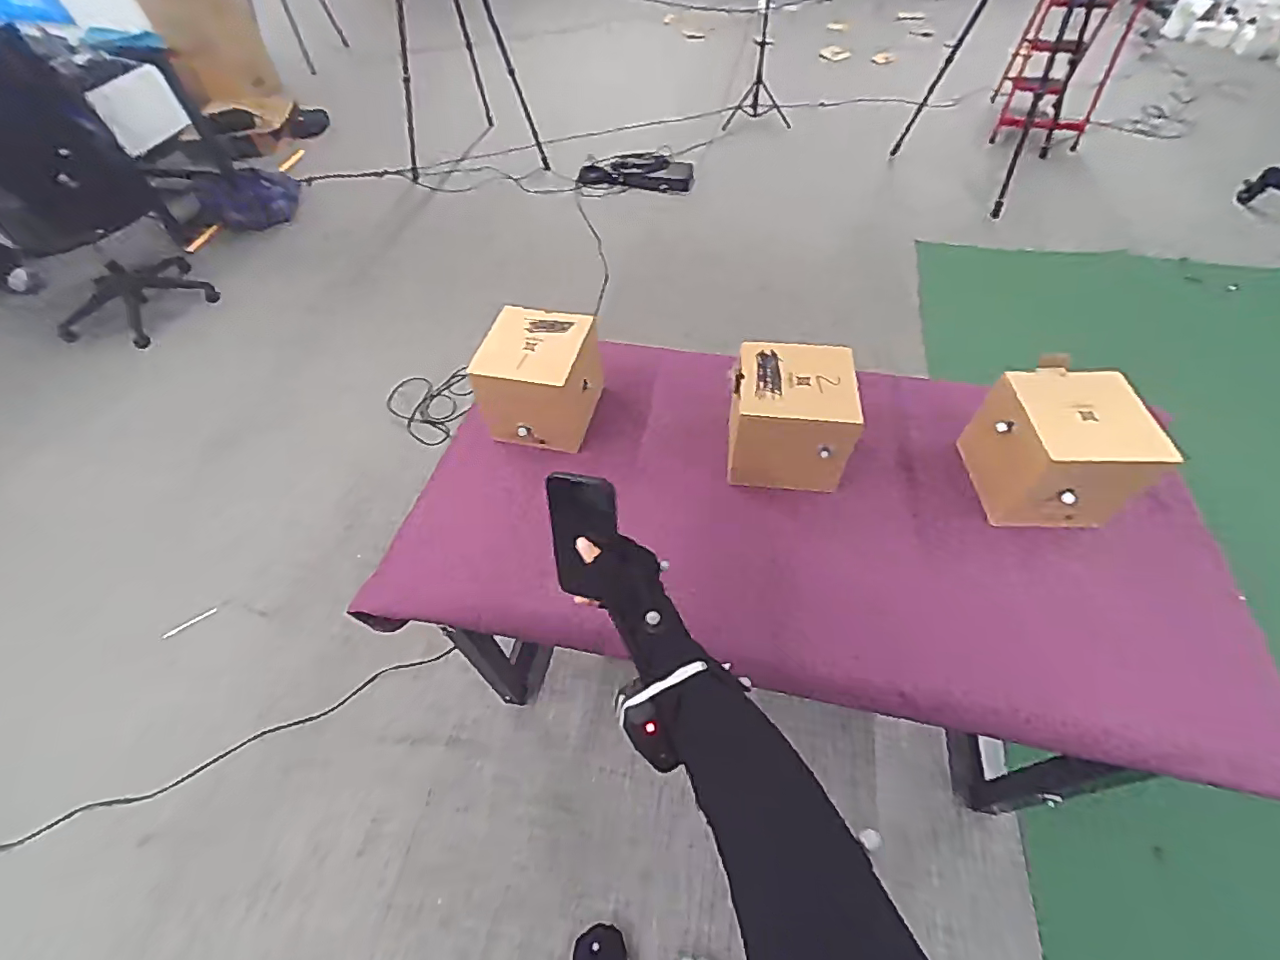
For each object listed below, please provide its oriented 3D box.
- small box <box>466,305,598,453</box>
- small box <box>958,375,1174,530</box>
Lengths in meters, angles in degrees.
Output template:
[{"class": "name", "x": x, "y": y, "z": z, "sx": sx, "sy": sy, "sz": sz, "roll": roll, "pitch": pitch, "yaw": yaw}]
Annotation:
[{"class": "small box", "x": -0.174, "y": -0.175, "z": 0.945, "sx": 0.168, "sy": 0.176, "sz": 0.179, "roll": 10, "pitch": 56, "yaw": 10}, {"class": "small box", "x": 0.617, "y": -0.037, "z": 0.815, "sx": 0.168, "sy": 0.176, "sz": 0.179, "roll": 1, "pitch": 52, "yaw": 3}]
